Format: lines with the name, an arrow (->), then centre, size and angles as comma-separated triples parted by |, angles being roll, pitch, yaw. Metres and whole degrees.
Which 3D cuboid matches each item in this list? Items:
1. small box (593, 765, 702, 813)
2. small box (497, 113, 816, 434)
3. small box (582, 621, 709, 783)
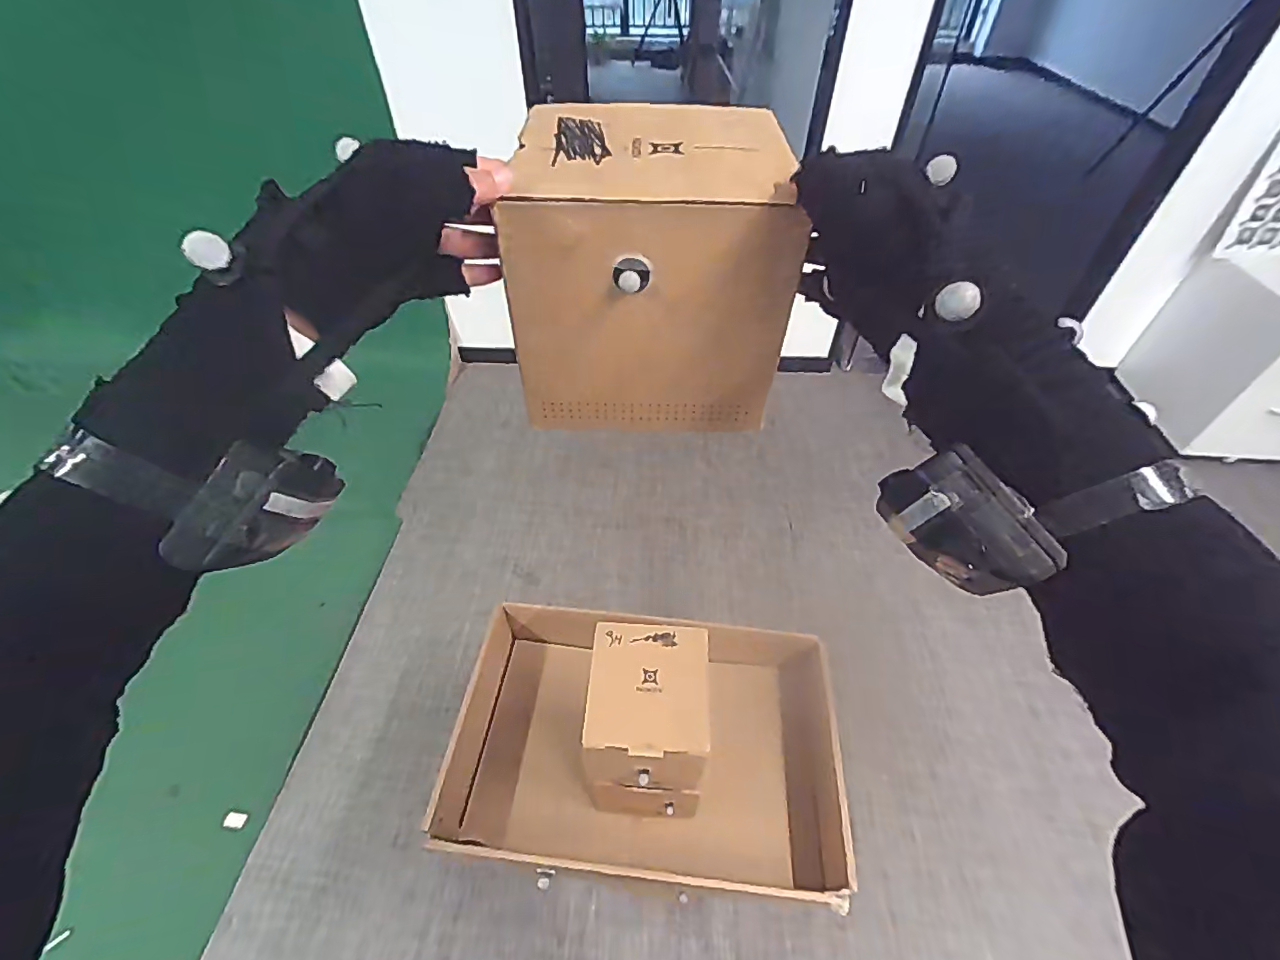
small box -> 0.017, 0.446, 0.917 | 0.168, 0.176, 0.179 | 4, 45, 2
small box -> 0.010, -0.149, 0.401 | 0.179, 0.176, 0.168 | 2, 49, -1
small box -> 0.012, 0.332, 0.800 | 0.168, 0.176, 0.179 | 4, 48, 2
